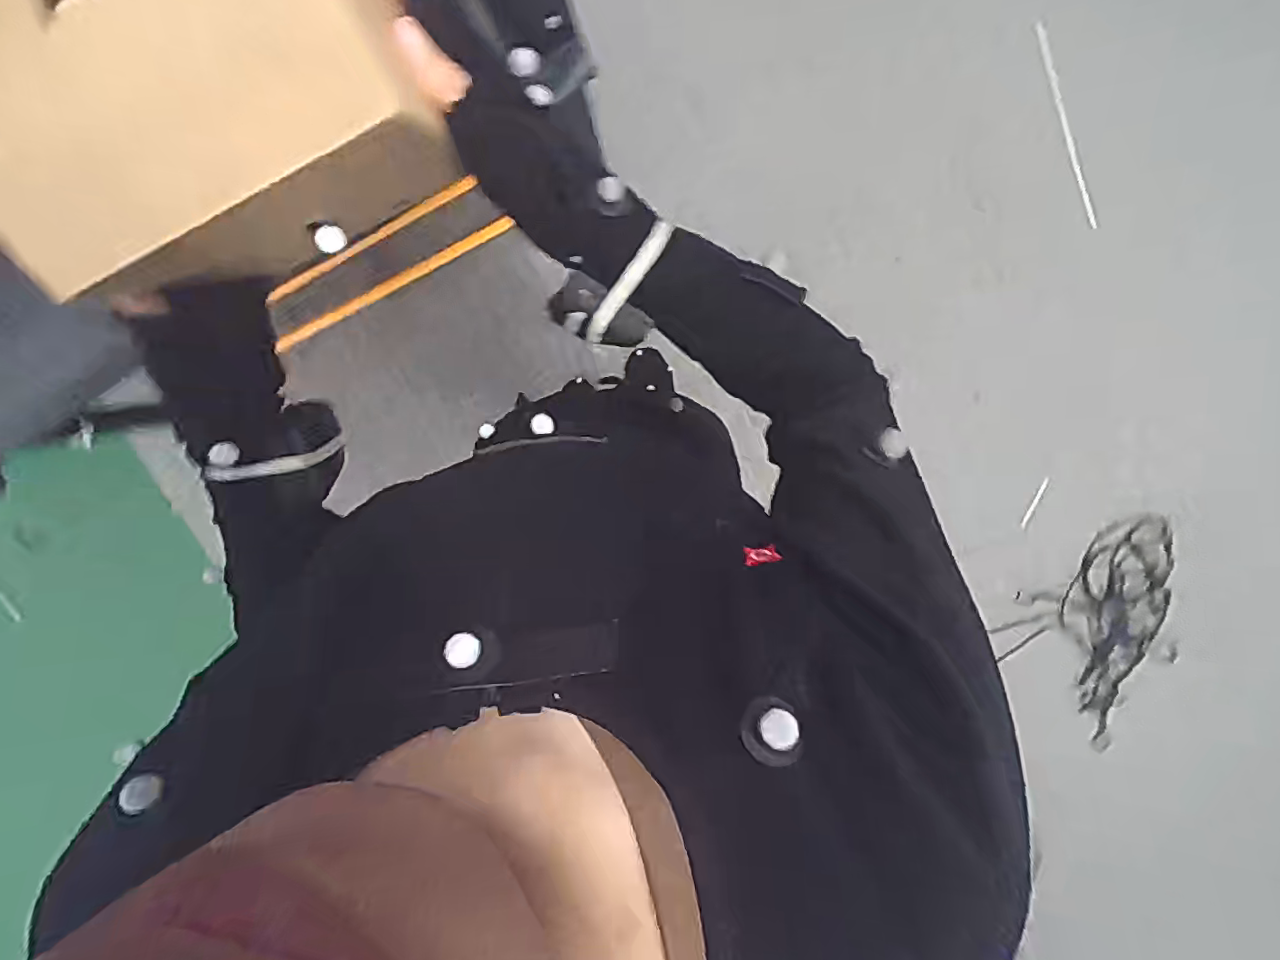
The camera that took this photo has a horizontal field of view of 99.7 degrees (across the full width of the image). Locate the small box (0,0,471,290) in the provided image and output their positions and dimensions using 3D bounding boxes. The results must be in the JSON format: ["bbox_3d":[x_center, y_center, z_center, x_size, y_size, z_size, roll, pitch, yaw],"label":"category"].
[{"bbox_3d":[-0.203,-0.212,0.249,0.168,0.176,0.179,-22,114,7],"label":"small box"}]
